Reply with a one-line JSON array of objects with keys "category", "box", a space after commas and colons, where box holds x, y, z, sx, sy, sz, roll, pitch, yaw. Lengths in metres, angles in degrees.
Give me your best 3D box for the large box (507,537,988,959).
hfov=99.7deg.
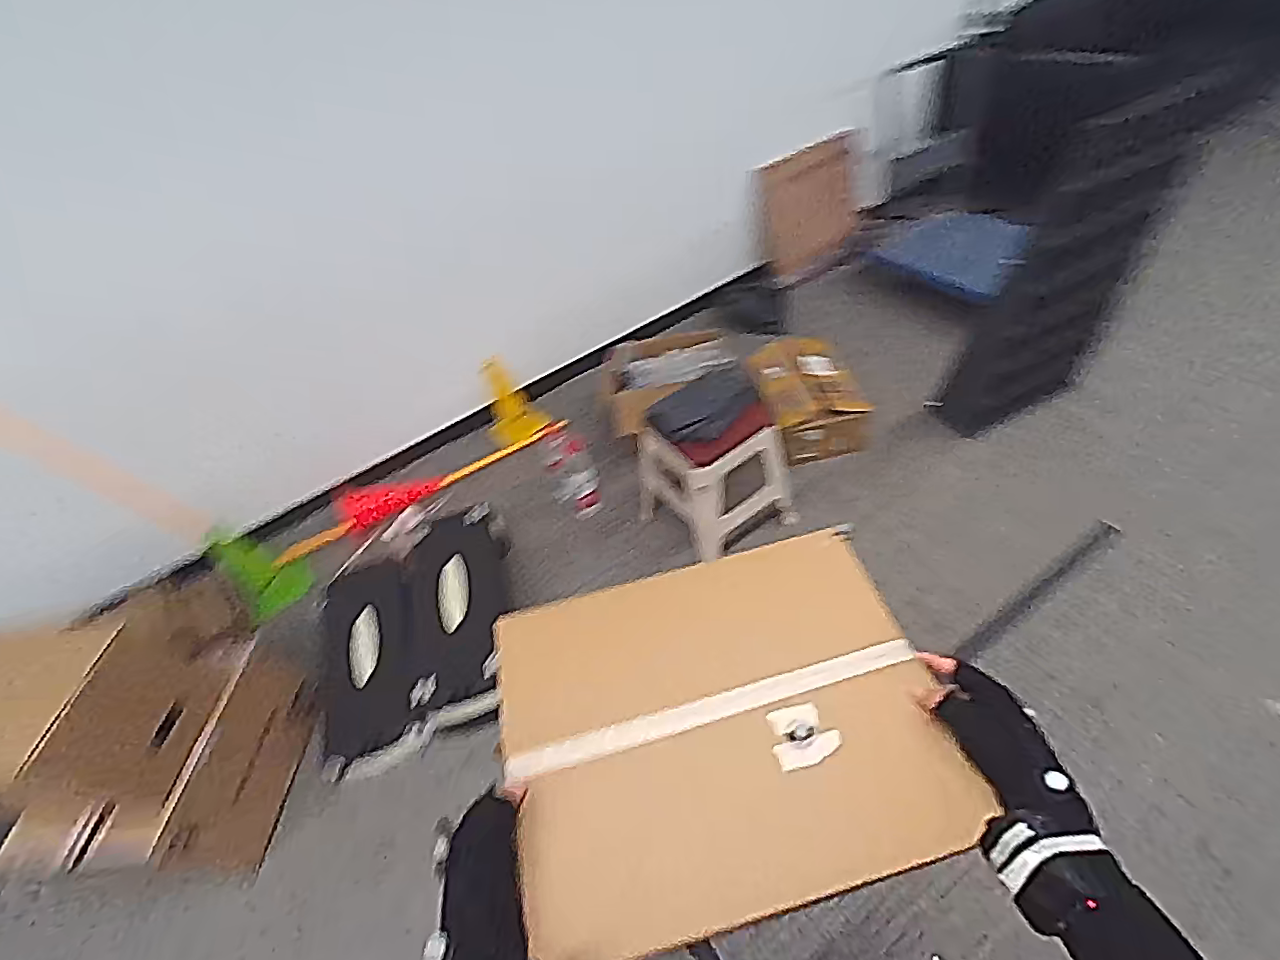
[{"category": "large box", "box": [0.088, 0.325, 0.653, 0.408, 0.320, 0.320, -14, 50, -5]}]
